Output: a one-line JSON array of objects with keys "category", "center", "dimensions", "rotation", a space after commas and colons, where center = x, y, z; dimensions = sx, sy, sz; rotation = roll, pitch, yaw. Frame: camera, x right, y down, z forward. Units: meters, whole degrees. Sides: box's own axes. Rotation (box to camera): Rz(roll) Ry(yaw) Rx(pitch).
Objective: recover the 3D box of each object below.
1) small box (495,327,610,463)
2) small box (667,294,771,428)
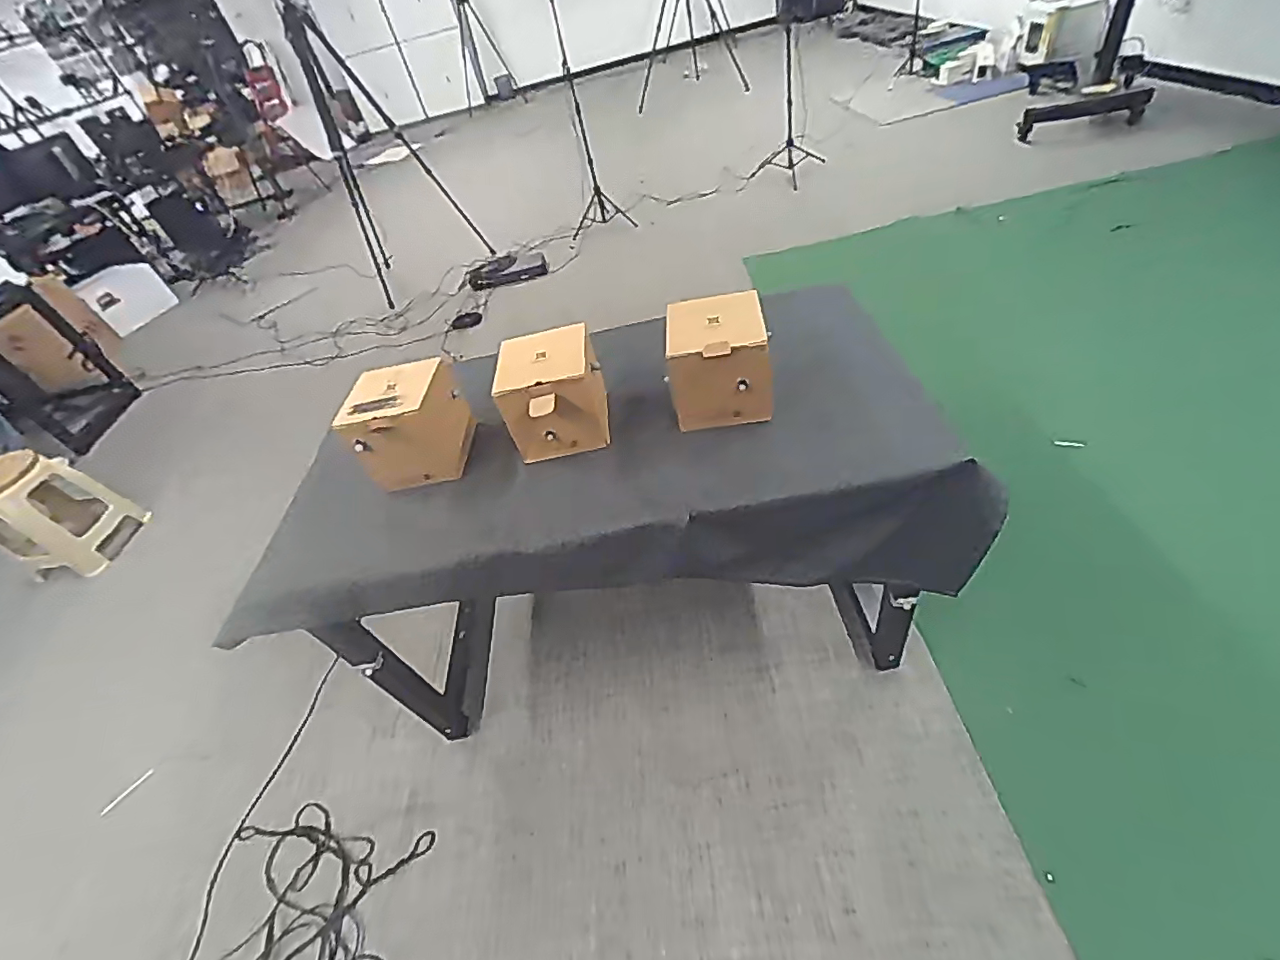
[{"category": "small box", "center": [-0.156, -0.158, 1.019], "dimensions": [0.168, 0.176, 0.179], "rotation": [-11, 45, 5]}, {"category": "small box", "center": [0.144, -0.208, 0.980], "dimensions": [0.168, 0.176, 0.179], "rotation": [-6, 44, 9]}]
